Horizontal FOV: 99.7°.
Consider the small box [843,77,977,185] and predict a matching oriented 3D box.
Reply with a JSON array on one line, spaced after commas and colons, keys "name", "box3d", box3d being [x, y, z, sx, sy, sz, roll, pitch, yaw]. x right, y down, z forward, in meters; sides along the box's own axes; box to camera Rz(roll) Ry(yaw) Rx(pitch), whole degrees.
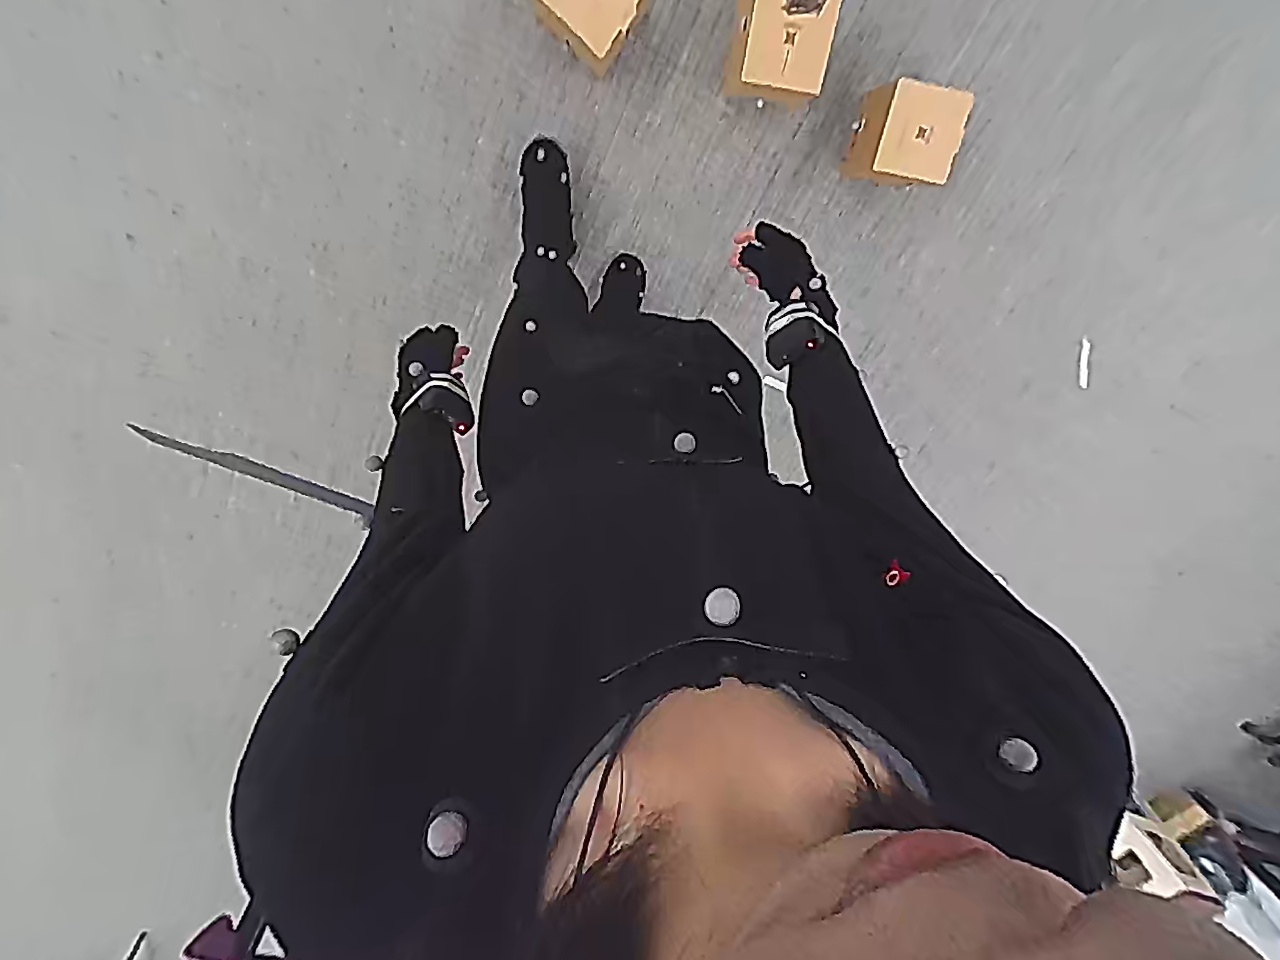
[{"name": "small box", "box3d": [0.581, -0.756, 1.189, 0.179, 0.176, 0.168, 6, 115, -7]}]

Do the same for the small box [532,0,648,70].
[{"name": "small box", "box3d": [-0.093, -0.935, 1.039, 0.179, 0.176, 0.168, 35, 108, -20]}]

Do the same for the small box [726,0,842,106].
[{"name": "small box", "box3d": [0.281, -0.886, 1.094, 0.168, 0.176, 0.179, 5, 116, -7]}]
